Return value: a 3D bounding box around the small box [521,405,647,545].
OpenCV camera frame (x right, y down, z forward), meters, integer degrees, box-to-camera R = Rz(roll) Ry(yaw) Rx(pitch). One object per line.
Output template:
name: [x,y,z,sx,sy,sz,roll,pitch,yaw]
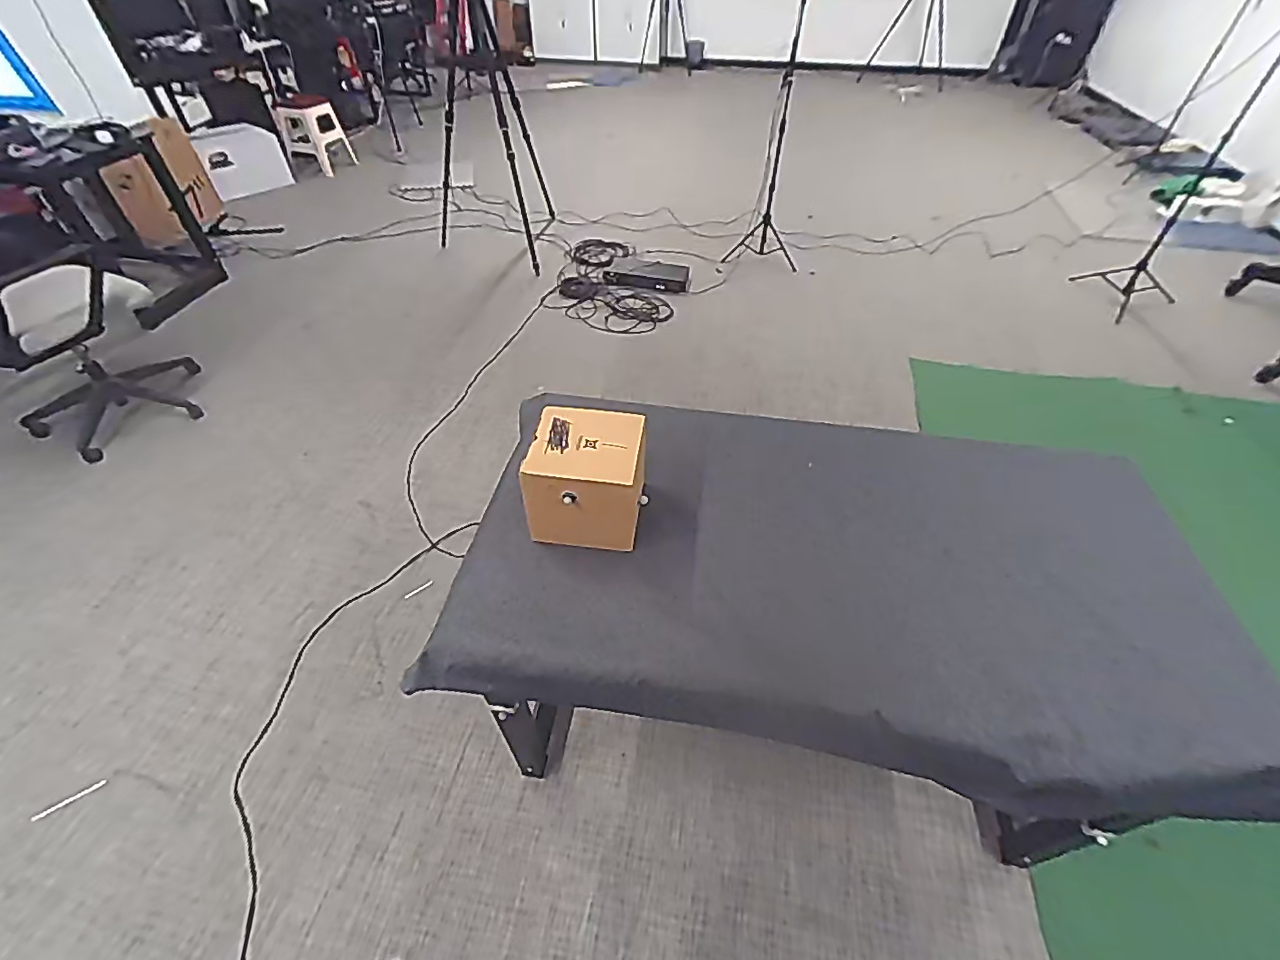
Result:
small box: [-0.086,-0.006,0.919,0.179,0.176,0.168,6,47,4]
